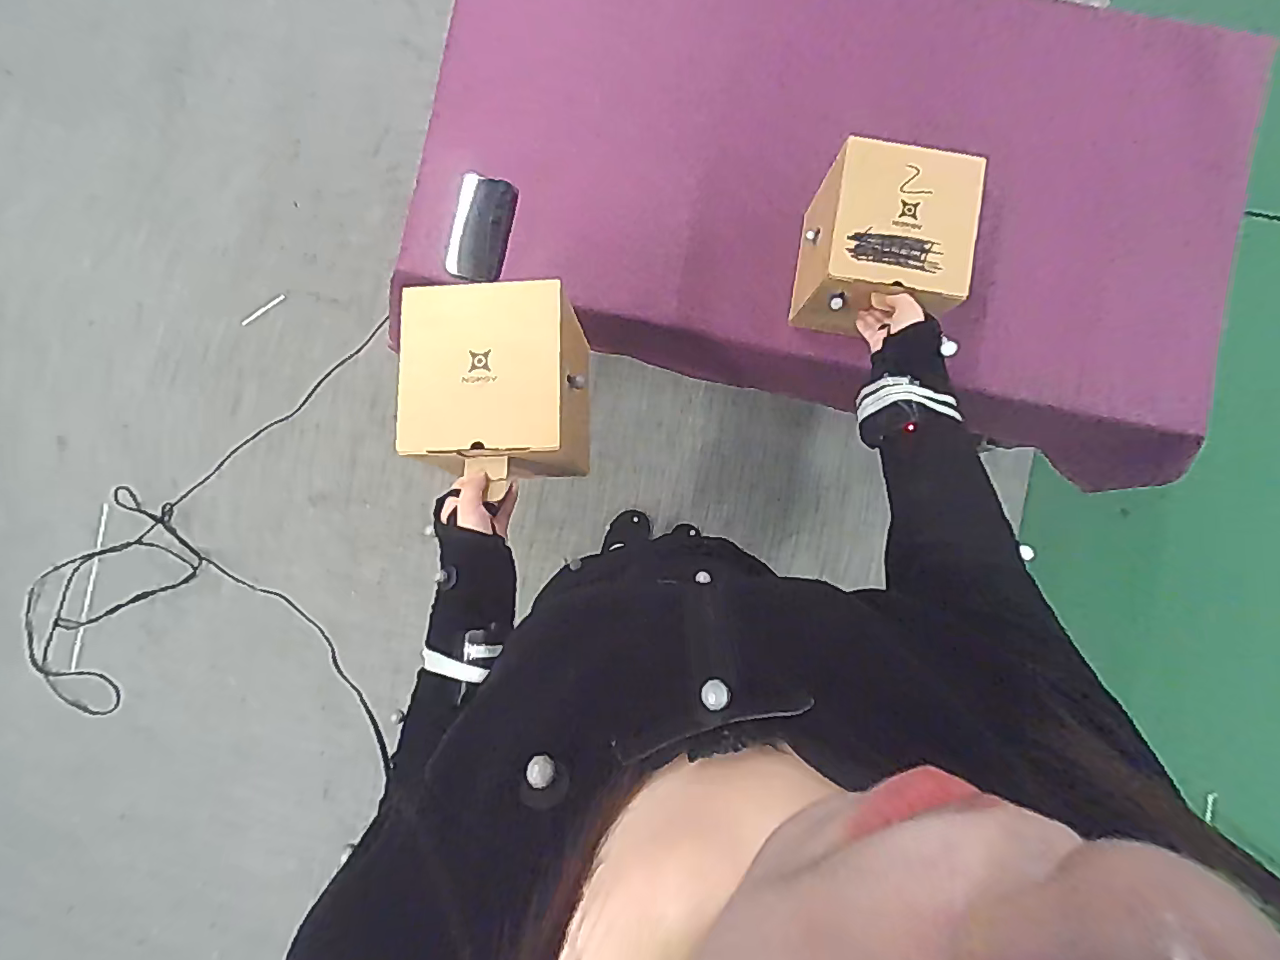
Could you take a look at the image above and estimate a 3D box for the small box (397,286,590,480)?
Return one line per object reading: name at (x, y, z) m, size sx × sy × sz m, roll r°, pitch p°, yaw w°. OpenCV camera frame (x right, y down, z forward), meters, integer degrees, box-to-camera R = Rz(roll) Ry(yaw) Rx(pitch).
small box at (-0.151, -0.098, 0.613) m, size 0.168 × 0.176 × 0.179 m, roll -1°, pitch 83°, yaw 3°
